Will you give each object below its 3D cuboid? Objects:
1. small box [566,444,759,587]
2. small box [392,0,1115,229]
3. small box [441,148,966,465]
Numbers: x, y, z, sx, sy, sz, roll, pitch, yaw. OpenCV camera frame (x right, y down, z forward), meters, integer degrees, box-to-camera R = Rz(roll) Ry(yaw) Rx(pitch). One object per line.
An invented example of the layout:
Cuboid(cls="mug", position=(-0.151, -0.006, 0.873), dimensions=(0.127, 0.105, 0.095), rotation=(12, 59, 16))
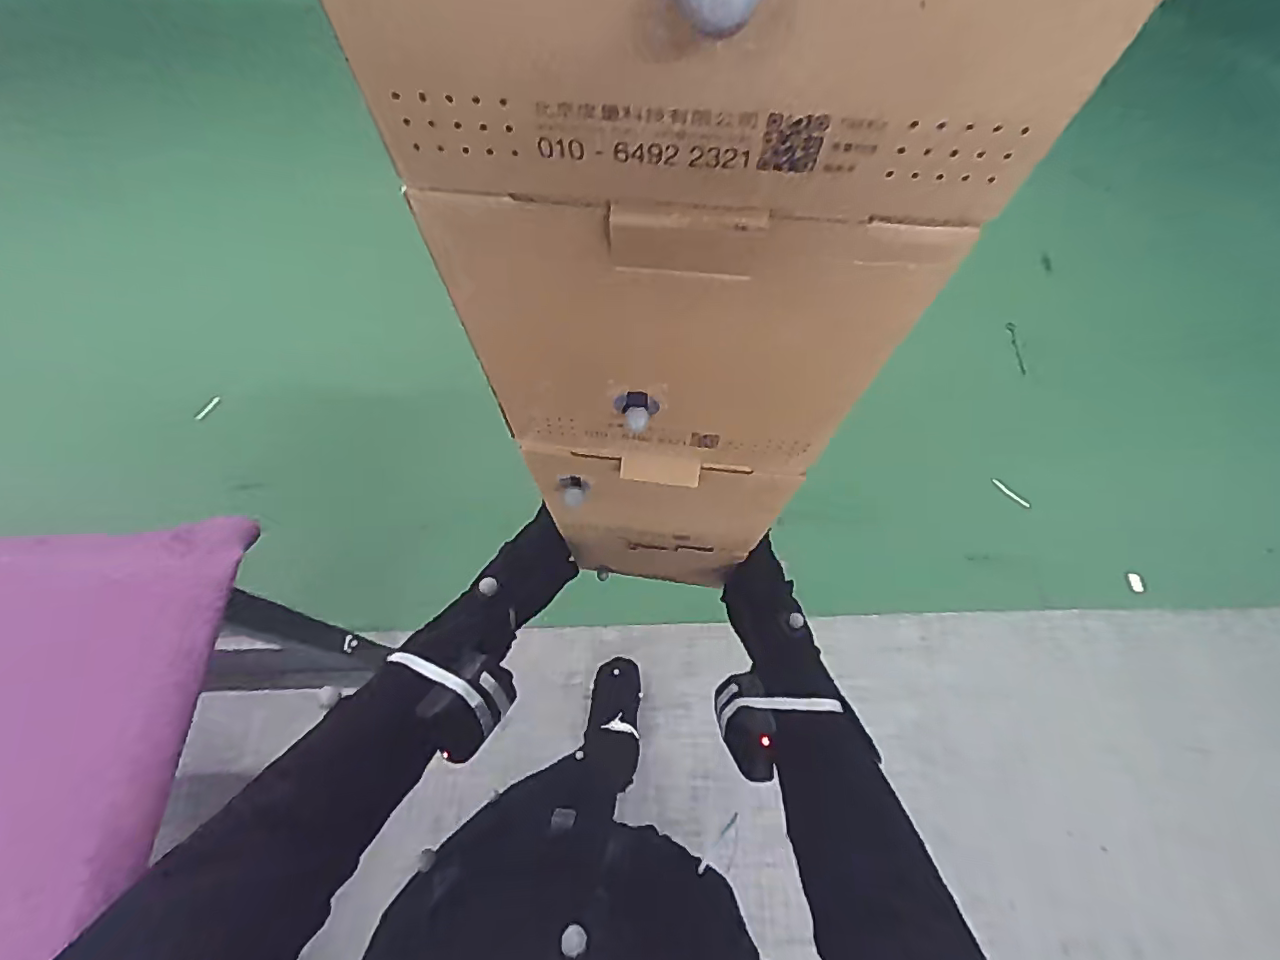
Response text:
Cuboid(cls="small box", position=(0.029, 0.006, 0.571), dimensions=(0.168, 0.176, 0.179), rotation=(8, 67, 3))
Cuboid(cls="small box", position=(0.025, -0.191, 0.120), dimensions=(0.168, 0.176, 0.179), rotation=(4, 68, 2))
Cuboid(cls="small box", position=(0.025, -0.126, 0.272), dimensions=(0.168, 0.176, 0.179), rotation=(5, 68, 2))
